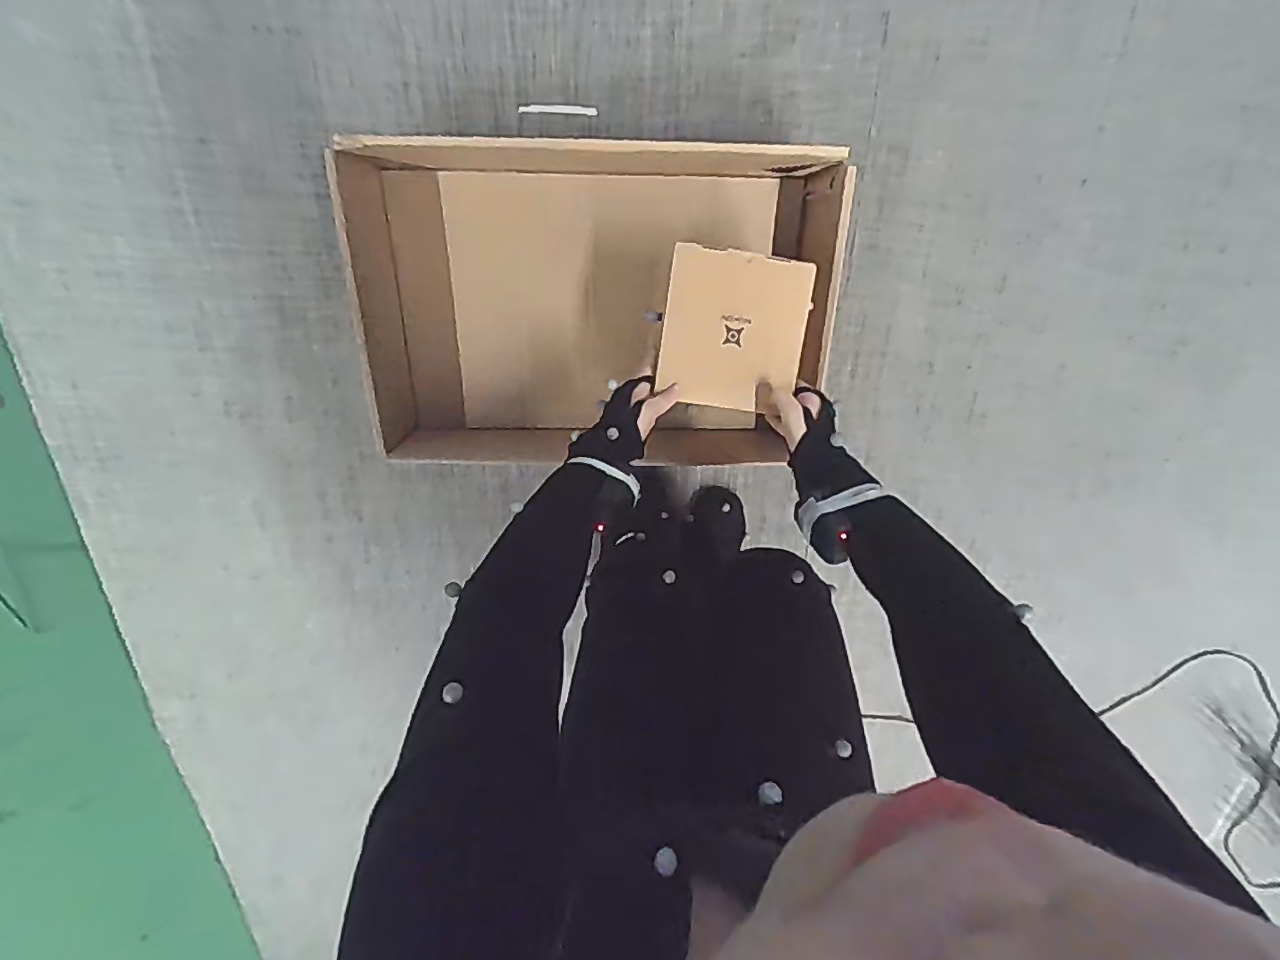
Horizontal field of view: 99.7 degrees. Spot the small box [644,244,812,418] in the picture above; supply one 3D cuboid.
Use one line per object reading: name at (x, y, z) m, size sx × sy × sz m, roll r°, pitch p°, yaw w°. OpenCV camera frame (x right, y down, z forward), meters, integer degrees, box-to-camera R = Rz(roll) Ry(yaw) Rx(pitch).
small box at (0.100, -0.181, 0.702) m, size 0.168 × 0.176 × 0.179 m, roll 7°, pitch 98°, yaw -6°
